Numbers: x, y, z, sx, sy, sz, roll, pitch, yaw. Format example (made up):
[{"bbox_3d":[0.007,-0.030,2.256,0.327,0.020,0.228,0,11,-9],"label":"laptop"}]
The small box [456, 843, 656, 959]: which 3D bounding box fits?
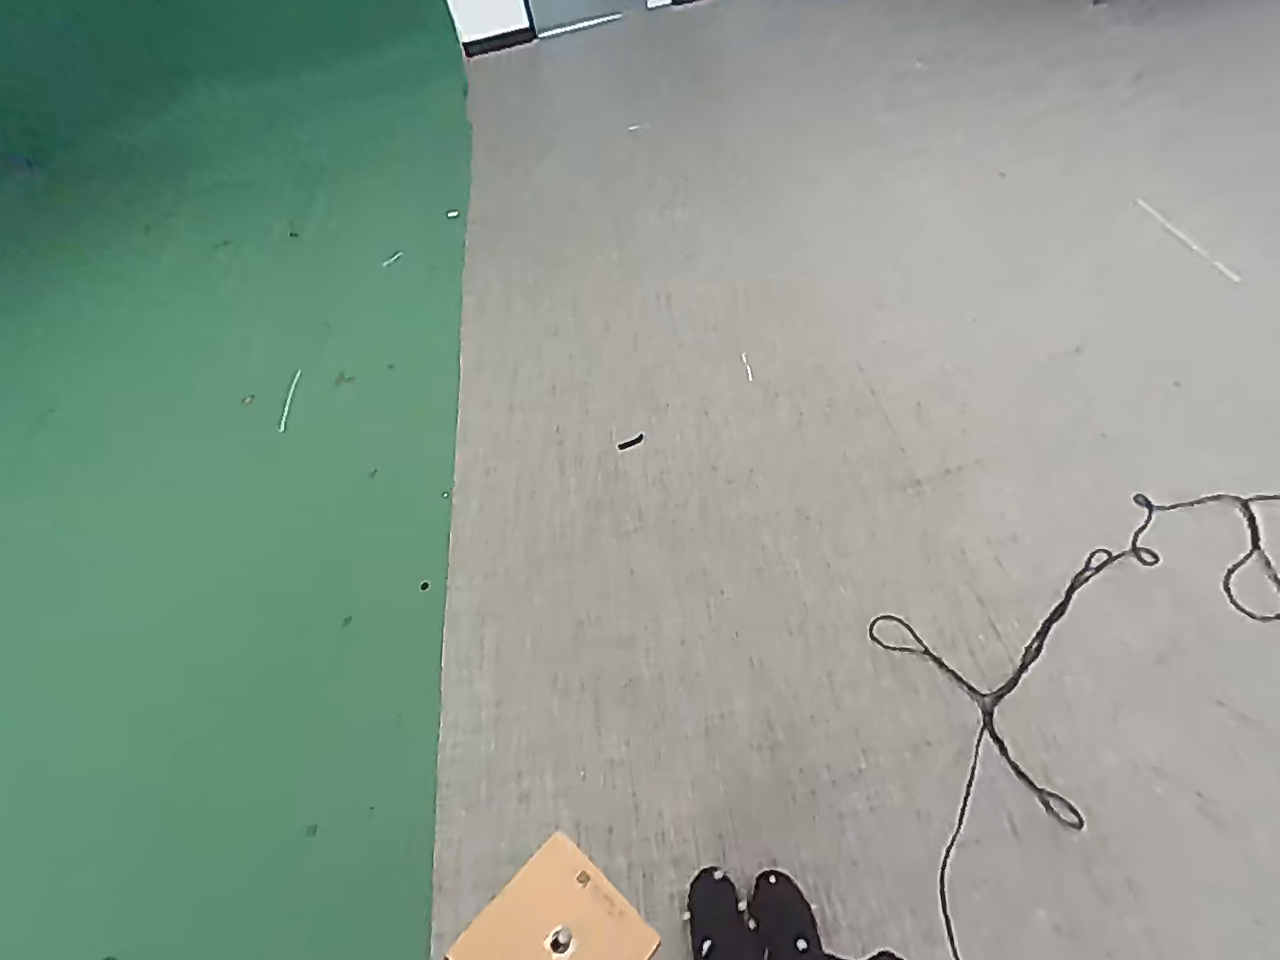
[{"bbox_3d":[-0.103,0.568,0.615,0.168,0.179,0.176,33,34,24],"label":"small box"}]
